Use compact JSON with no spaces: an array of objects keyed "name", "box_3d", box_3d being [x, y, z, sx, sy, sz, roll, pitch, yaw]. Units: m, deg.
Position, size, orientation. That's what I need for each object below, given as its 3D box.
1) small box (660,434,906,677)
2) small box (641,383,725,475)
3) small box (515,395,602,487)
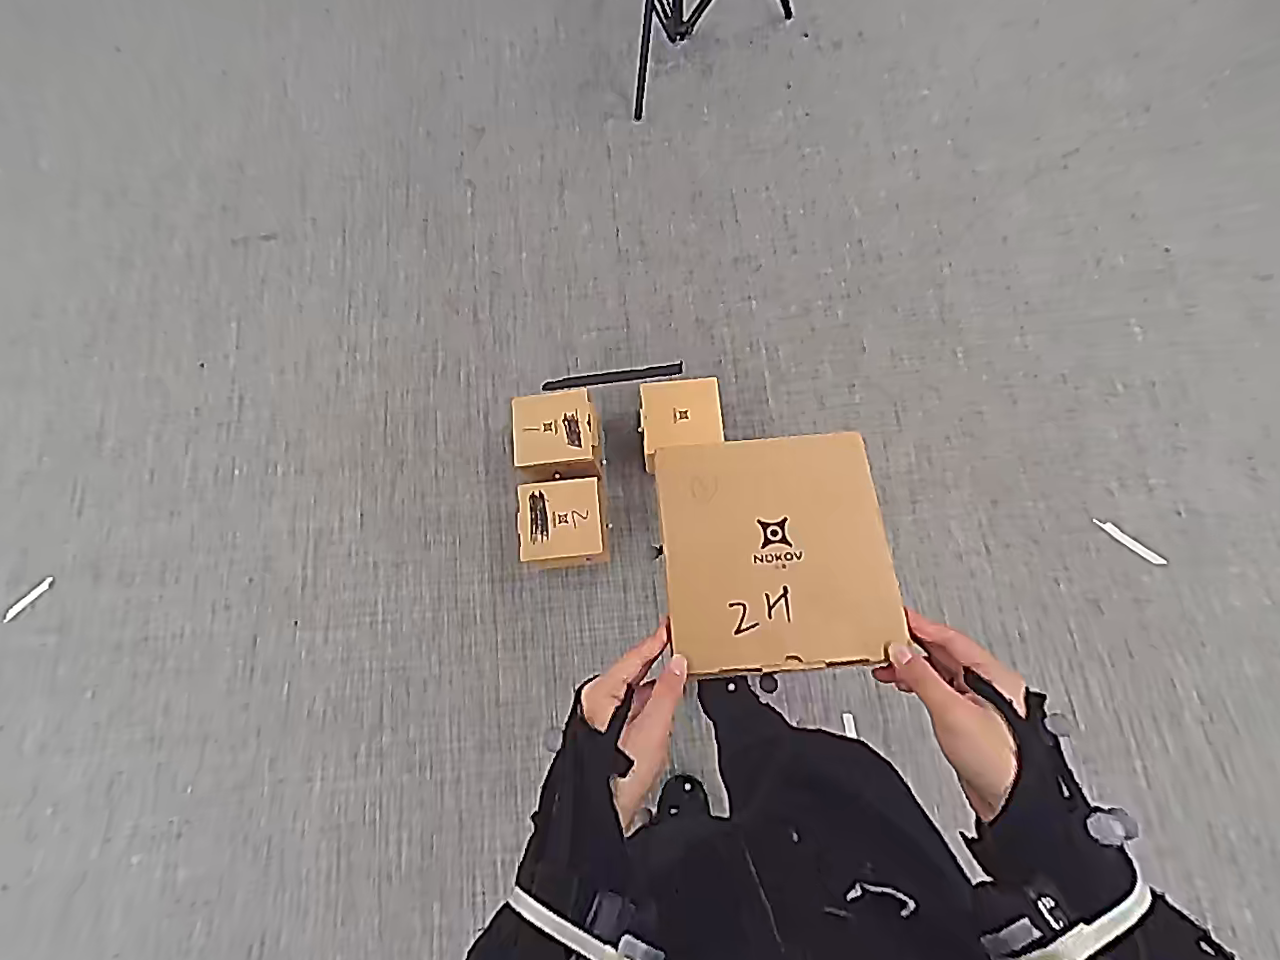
[{"name":"small box","box_3d":[0.105,0.077,0.485,0.168,0.176,0.179,-5,69,2]},{"name":"small box","box_3d":[0.097,-0.114,1.268,0.179,0.176,0.168,-5,76,3]},{"name":"small box","box_3d":[-0.186,-0.086,1.276,0.179,0.176,0.168,-6,76,3]}]
